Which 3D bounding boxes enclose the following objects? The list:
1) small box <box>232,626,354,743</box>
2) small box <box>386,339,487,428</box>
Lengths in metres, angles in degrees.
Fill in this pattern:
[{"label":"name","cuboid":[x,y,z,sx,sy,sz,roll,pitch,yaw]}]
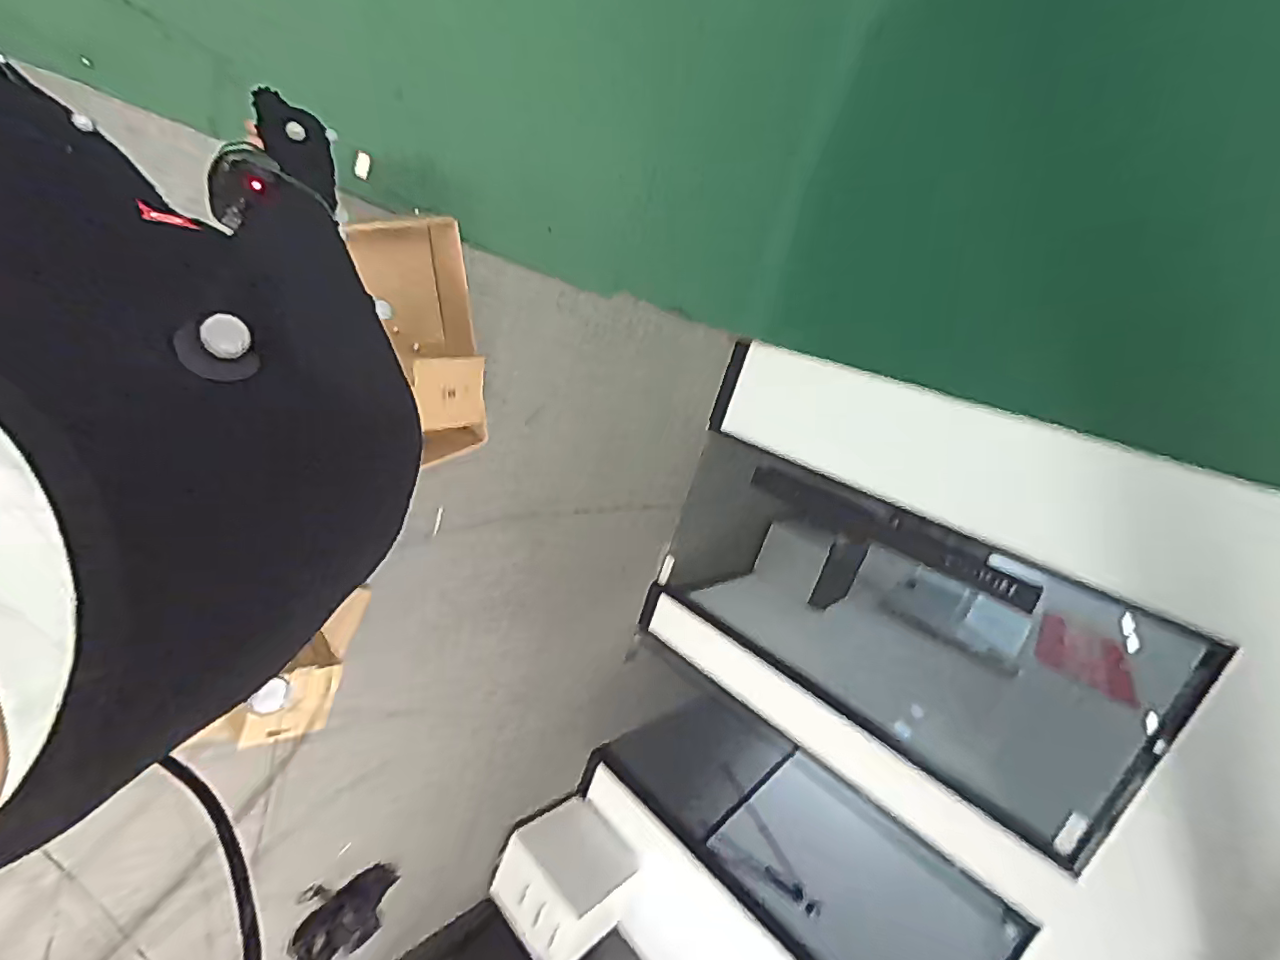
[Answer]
[{"label":"small box","cuboid":[-0.779,0.442,1.209,0.168,0.176,0.179,11,104,-53]},{"label":"small box","cuboid":[-0.488,-0.236,1.289,0.179,0.176,0.168,-19,127,-47]}]
